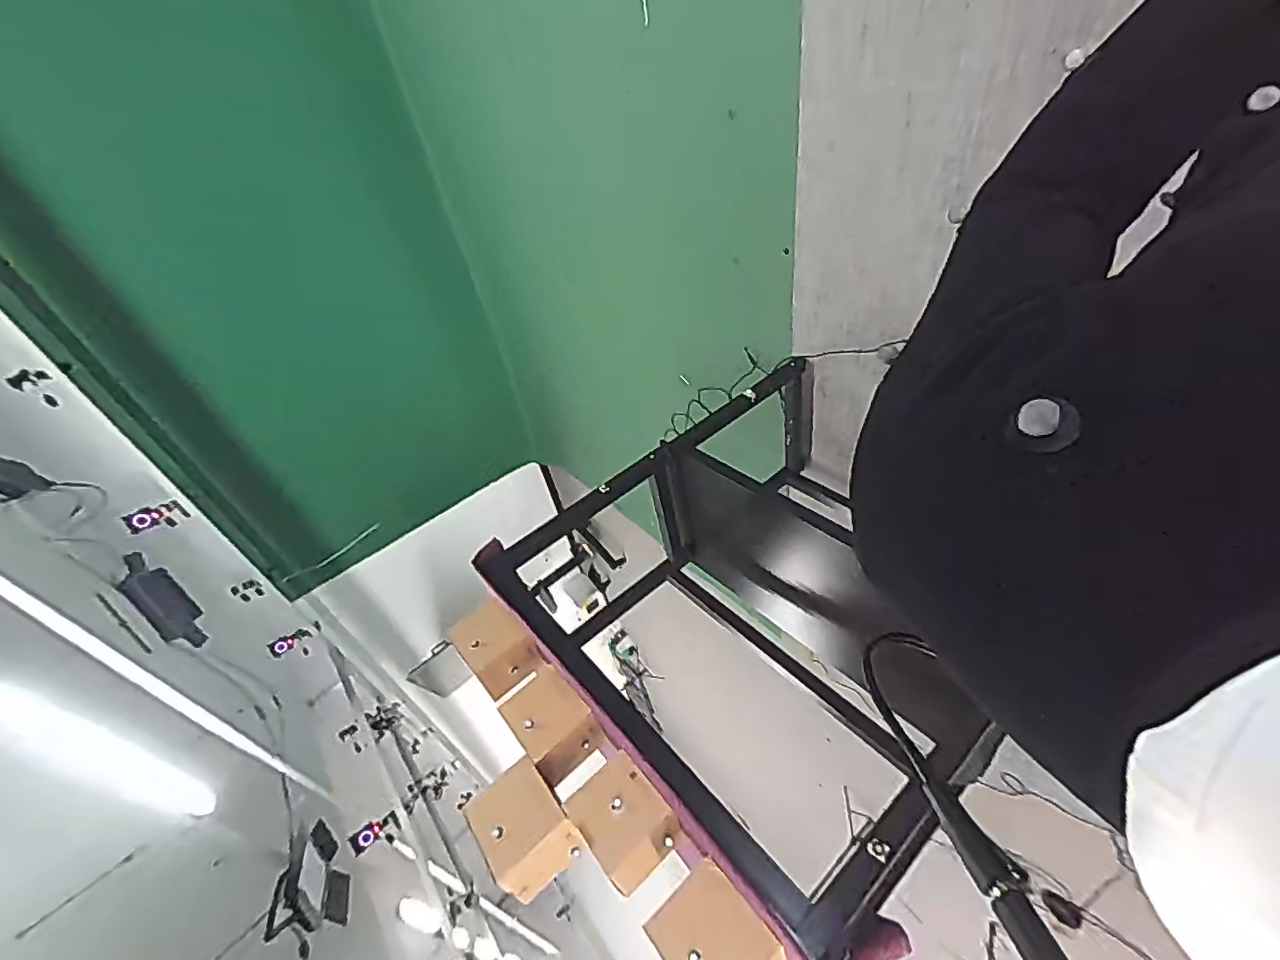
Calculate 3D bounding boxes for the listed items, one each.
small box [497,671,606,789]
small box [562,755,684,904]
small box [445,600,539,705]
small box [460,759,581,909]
[{"bbox_3d":[-0.207,0.587,1.291,0.179,0.176,0.168,32,148,39],"label":"small box"},{"bbox_3d":[-0.030,0.706,1.106,0.168,0.176,0.179,34,148,41],"label":"small box"},{"bbox_3d":[-0.392,0.463,1.472,0.179,0.176,0.168,35,148,37],"label":"small box"},{"bbox_3d":[-0.241,0.736,1.136,0.179,0.176,0.168,34,149,43],"label":"small box"}]
